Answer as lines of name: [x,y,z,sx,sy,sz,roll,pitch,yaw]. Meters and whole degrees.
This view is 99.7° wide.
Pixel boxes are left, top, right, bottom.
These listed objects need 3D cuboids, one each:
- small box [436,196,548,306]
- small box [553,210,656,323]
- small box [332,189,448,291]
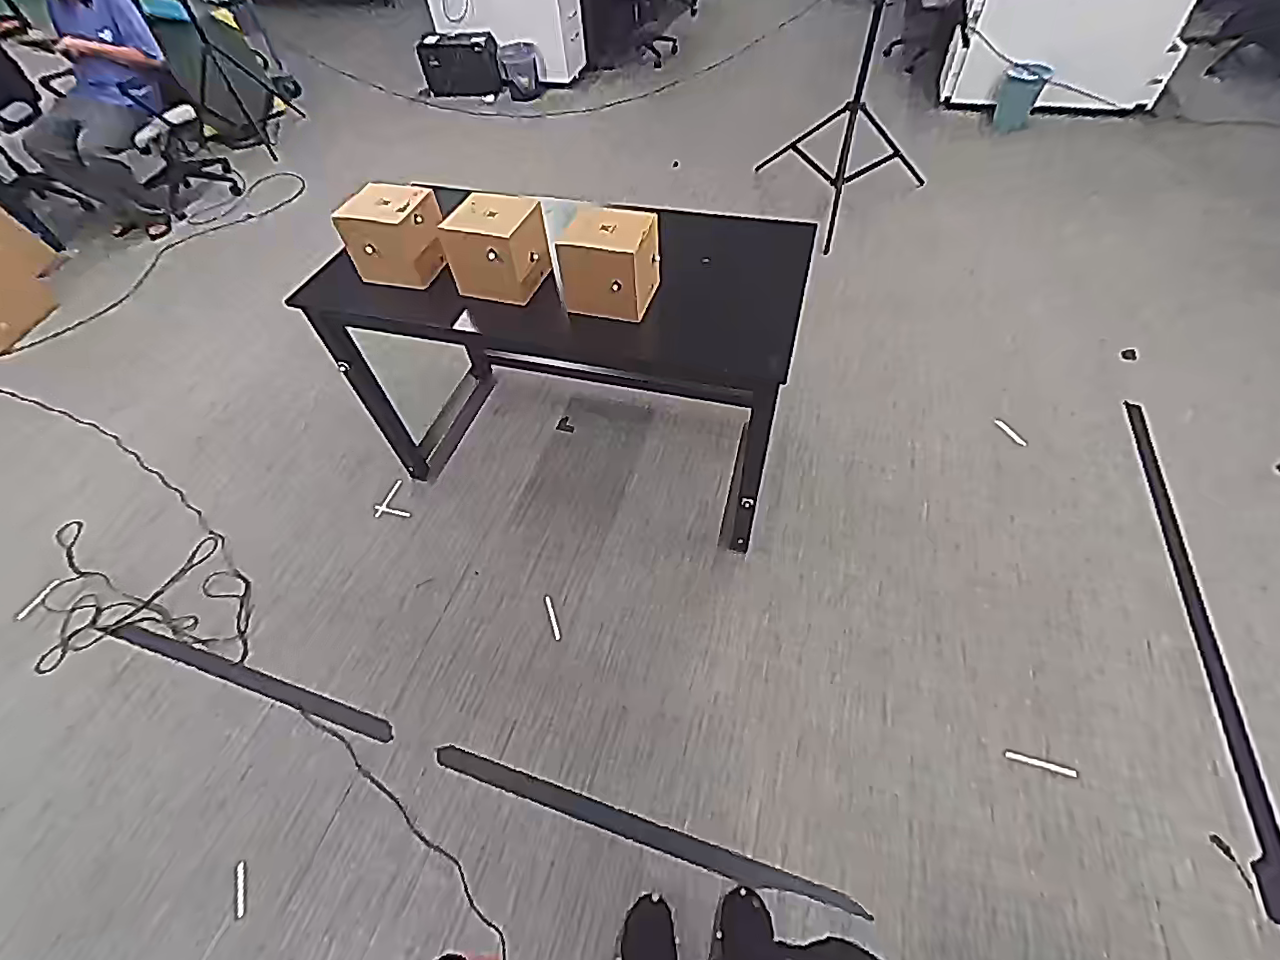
small box: [-0.330,-0.528,1.254,0.179,0.176,0.168,13,54,13]
small box: [-0.069,-0.469,1.195,0.179,0.176,0.168,11,53,13]
small box: [-0.591,-0.581,1.312,0.179,0.176,0.168,10,54,11]
